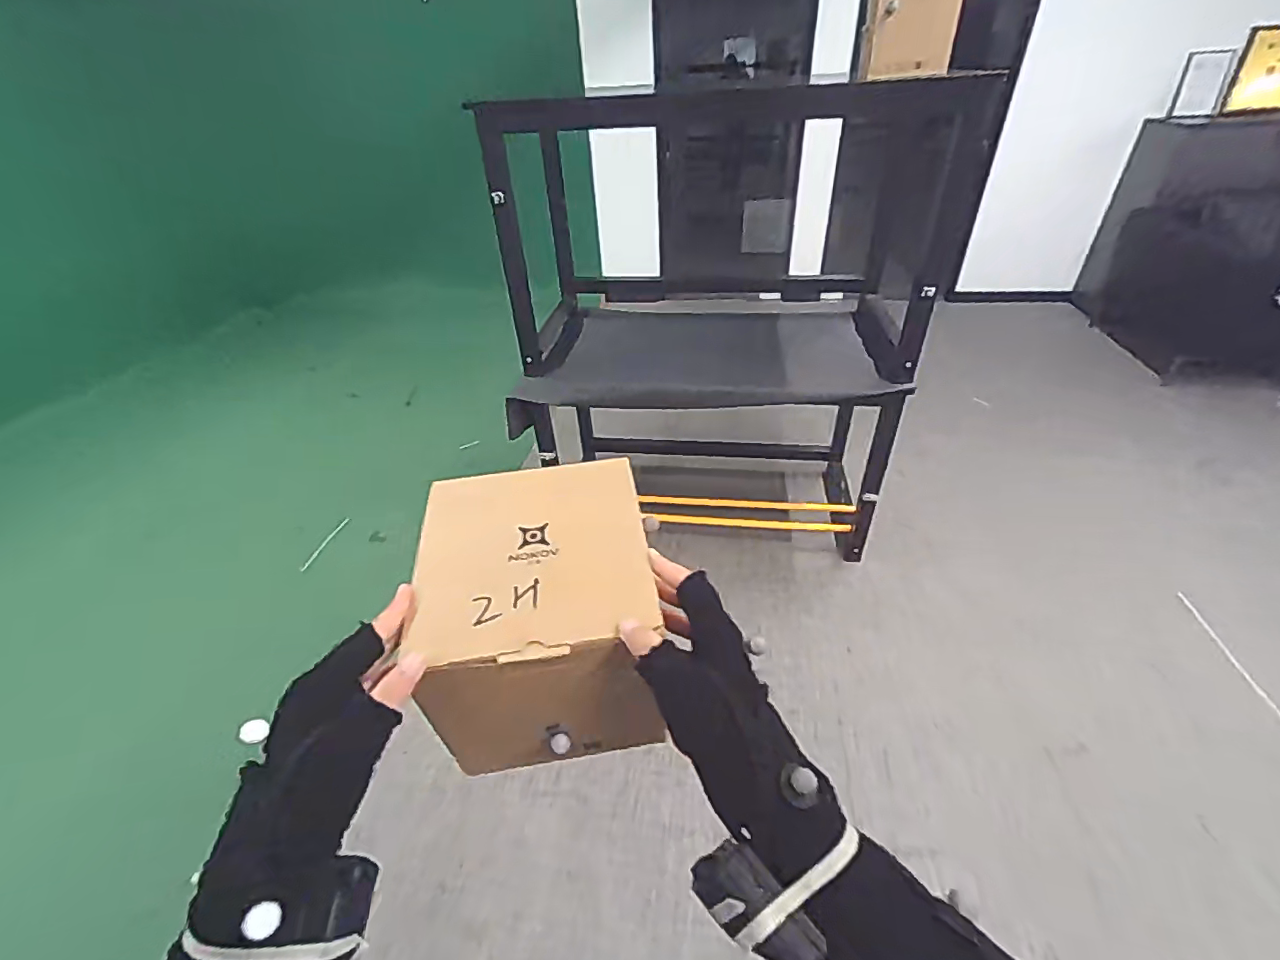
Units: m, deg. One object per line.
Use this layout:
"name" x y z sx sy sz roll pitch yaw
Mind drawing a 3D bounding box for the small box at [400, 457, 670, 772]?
"small box" -0.070 0.105 0.442 0.168 0.176 0.179 -7 41 -4
